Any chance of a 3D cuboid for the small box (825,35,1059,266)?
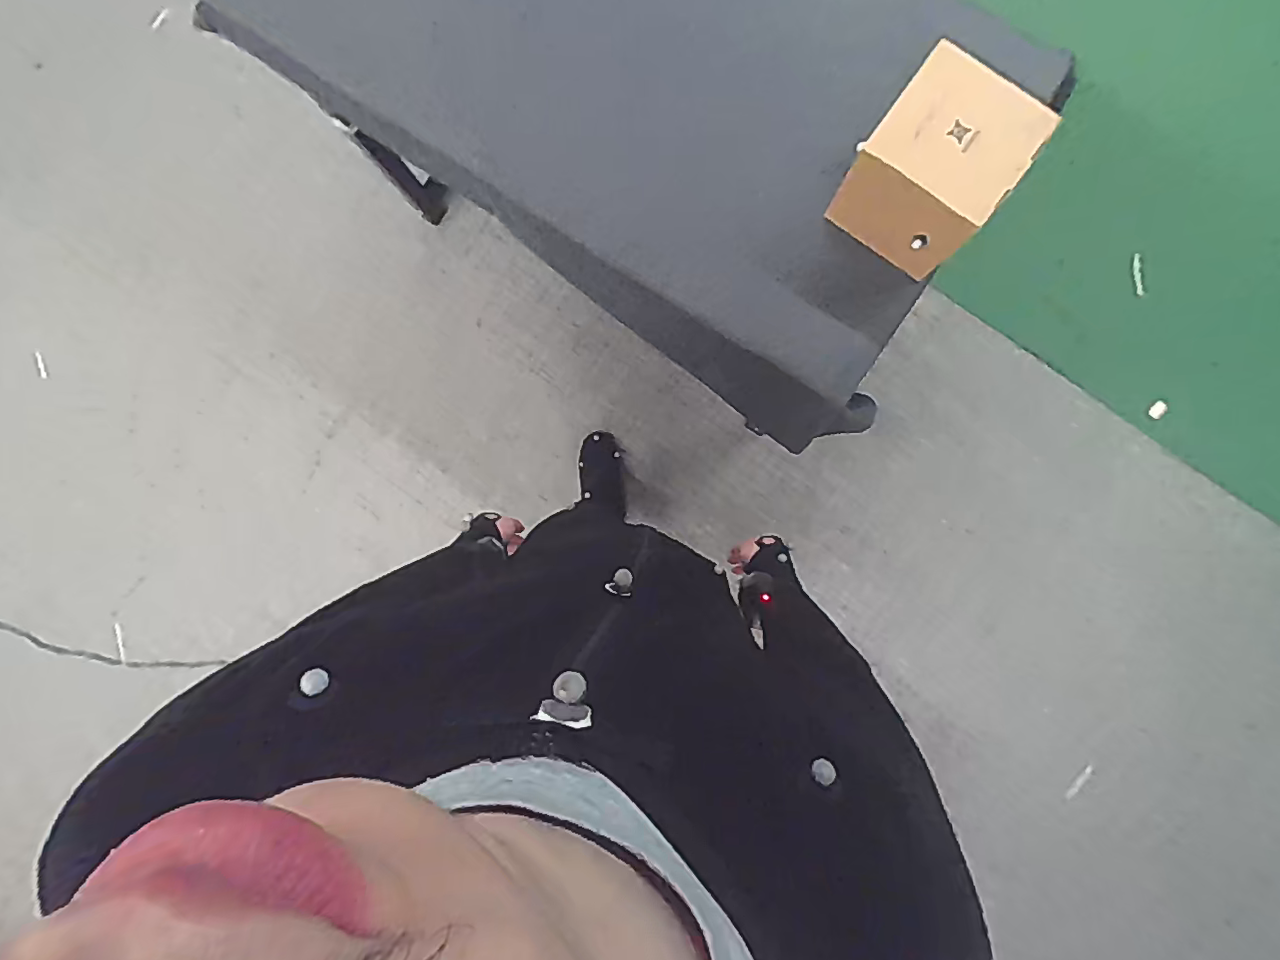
[{"bbox_3d":[0.382,-0.416,0.720,0.179,0.176,0.168,36,91,4],"label":"small box"}]
